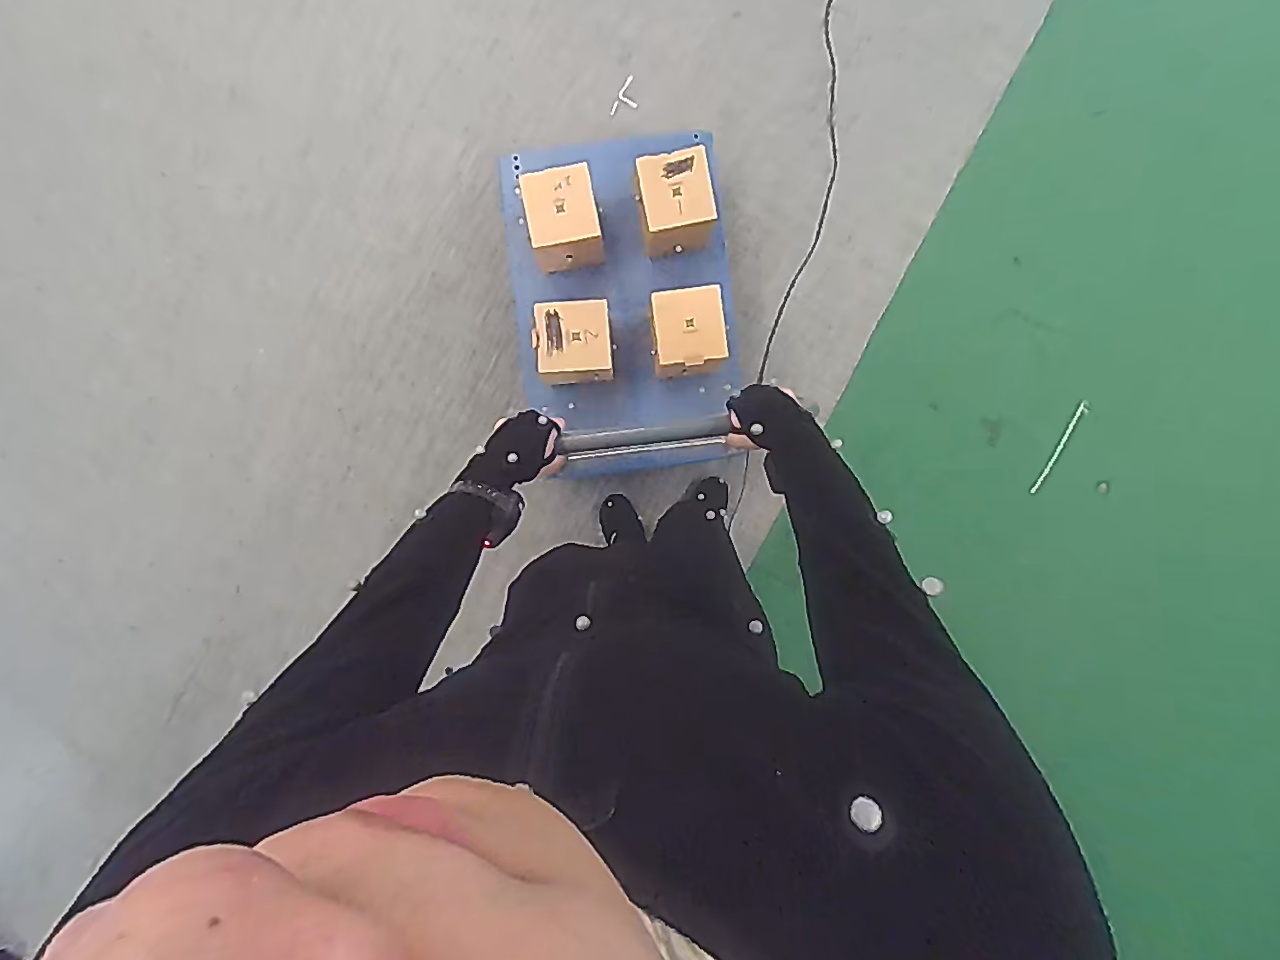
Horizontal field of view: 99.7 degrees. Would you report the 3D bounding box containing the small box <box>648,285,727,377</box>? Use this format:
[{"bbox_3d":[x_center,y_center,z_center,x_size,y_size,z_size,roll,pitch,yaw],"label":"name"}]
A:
[{"bbox_3d":[0.112,-0.365,1.349,0.168,0.176,0.179,-8,92,-1],"label":"small box"}]

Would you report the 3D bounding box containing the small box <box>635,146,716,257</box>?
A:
[{"bbox_3d":[0.081,-0.681,1.336,0.168,0.176,0.179,-11,93,0],"label":"small box"}]

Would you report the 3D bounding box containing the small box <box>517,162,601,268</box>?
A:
[{"bbox_3d":[-0.192,-0.640,1.332,0.168,0.176,0.179,-11,92,-1],"label":"small box"}]
